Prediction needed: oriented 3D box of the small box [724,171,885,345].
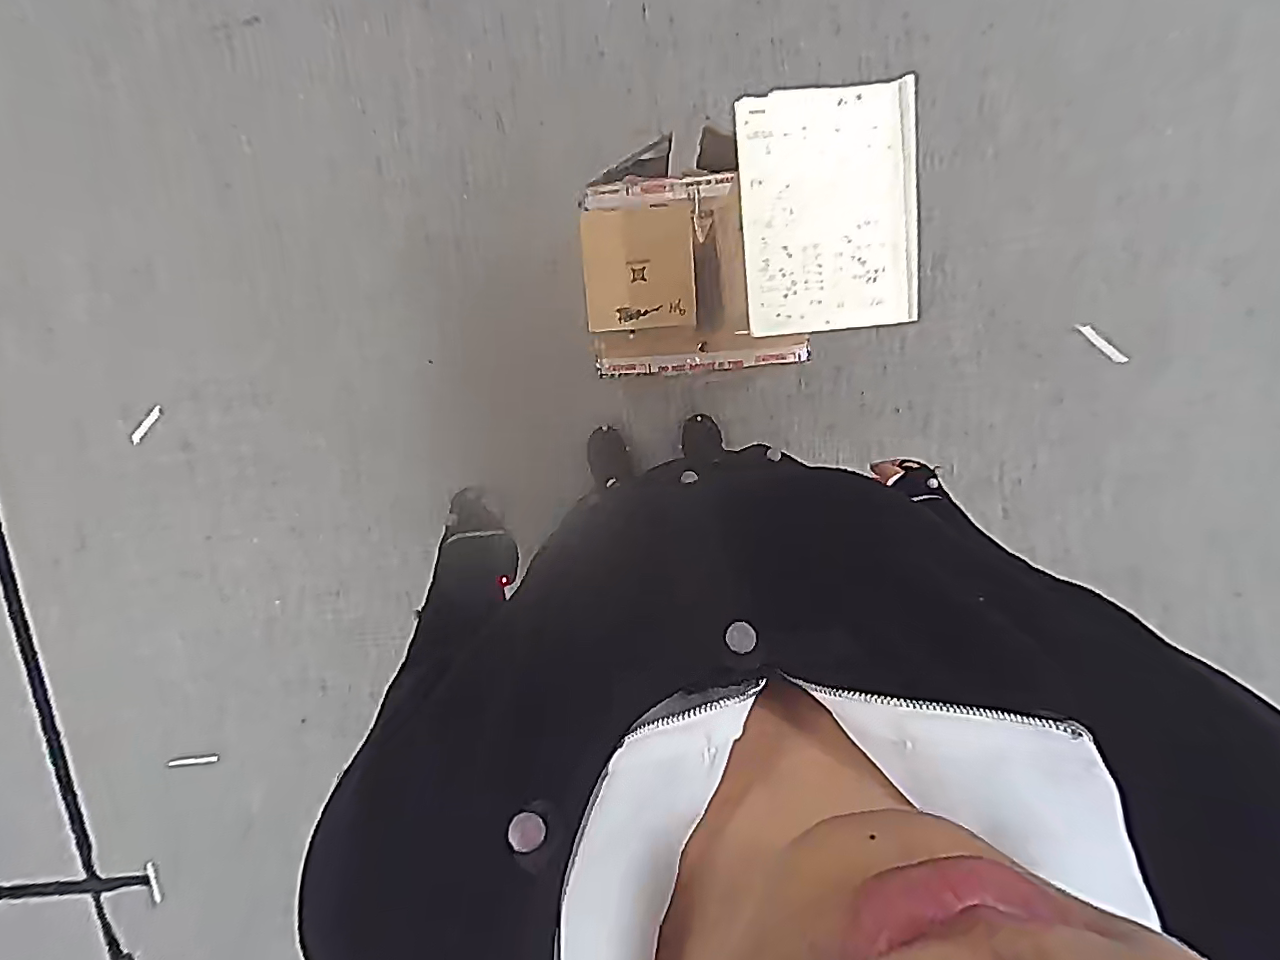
[{"bbox_3d":[0.211,-0.286,0.729,0.168,0.176,0.179,-5,99,0],"label":"small box"}]
